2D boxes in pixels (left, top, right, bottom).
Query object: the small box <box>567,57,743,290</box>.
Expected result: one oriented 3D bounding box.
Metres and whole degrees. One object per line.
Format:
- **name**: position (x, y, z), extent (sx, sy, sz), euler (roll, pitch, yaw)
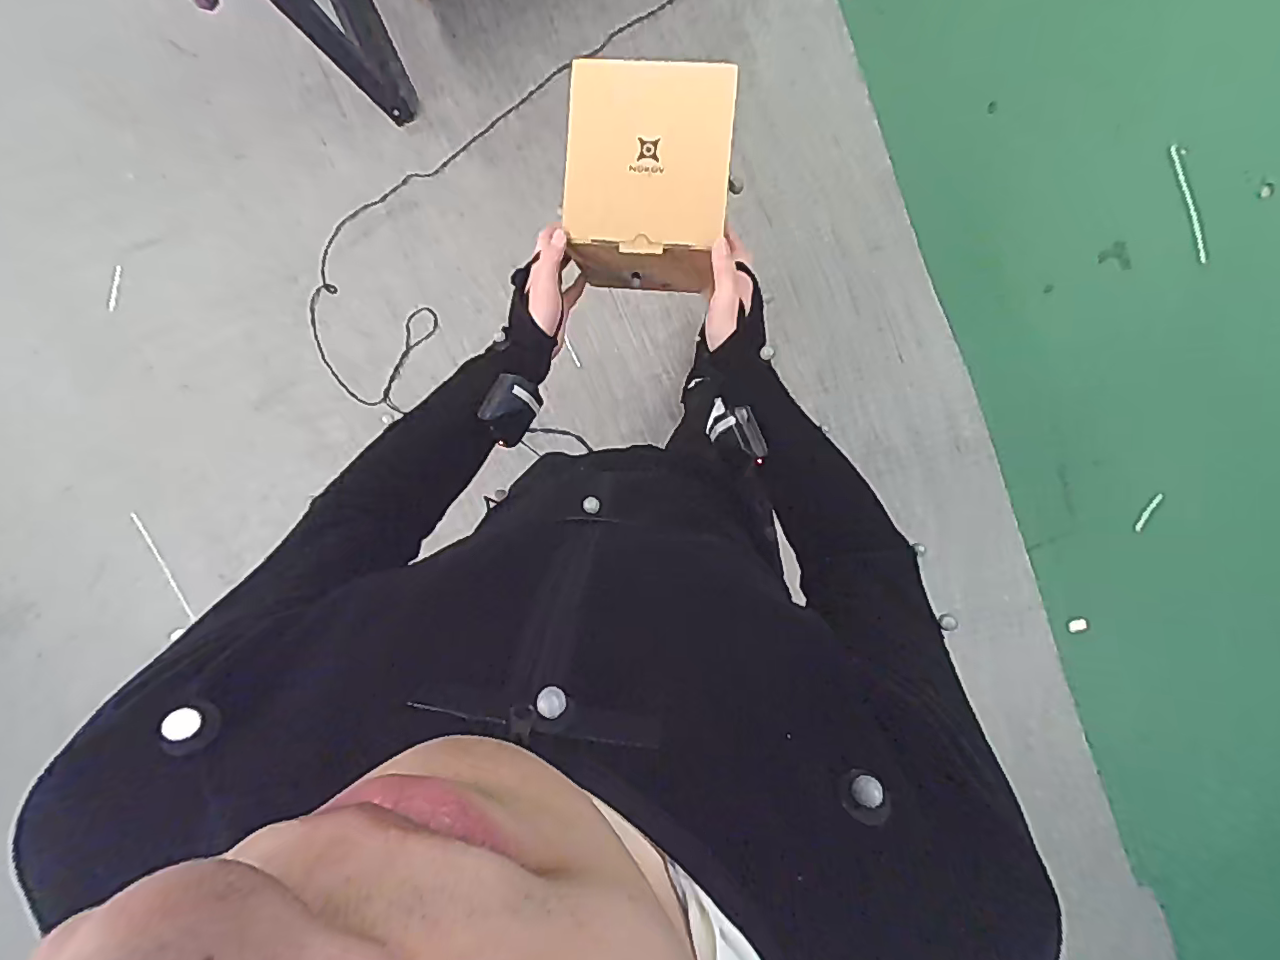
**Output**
- **small box**: position (0.017, -0.329, 0.612), extent (0.168, 0.176, 0.179), euler (4, 96, 3)
